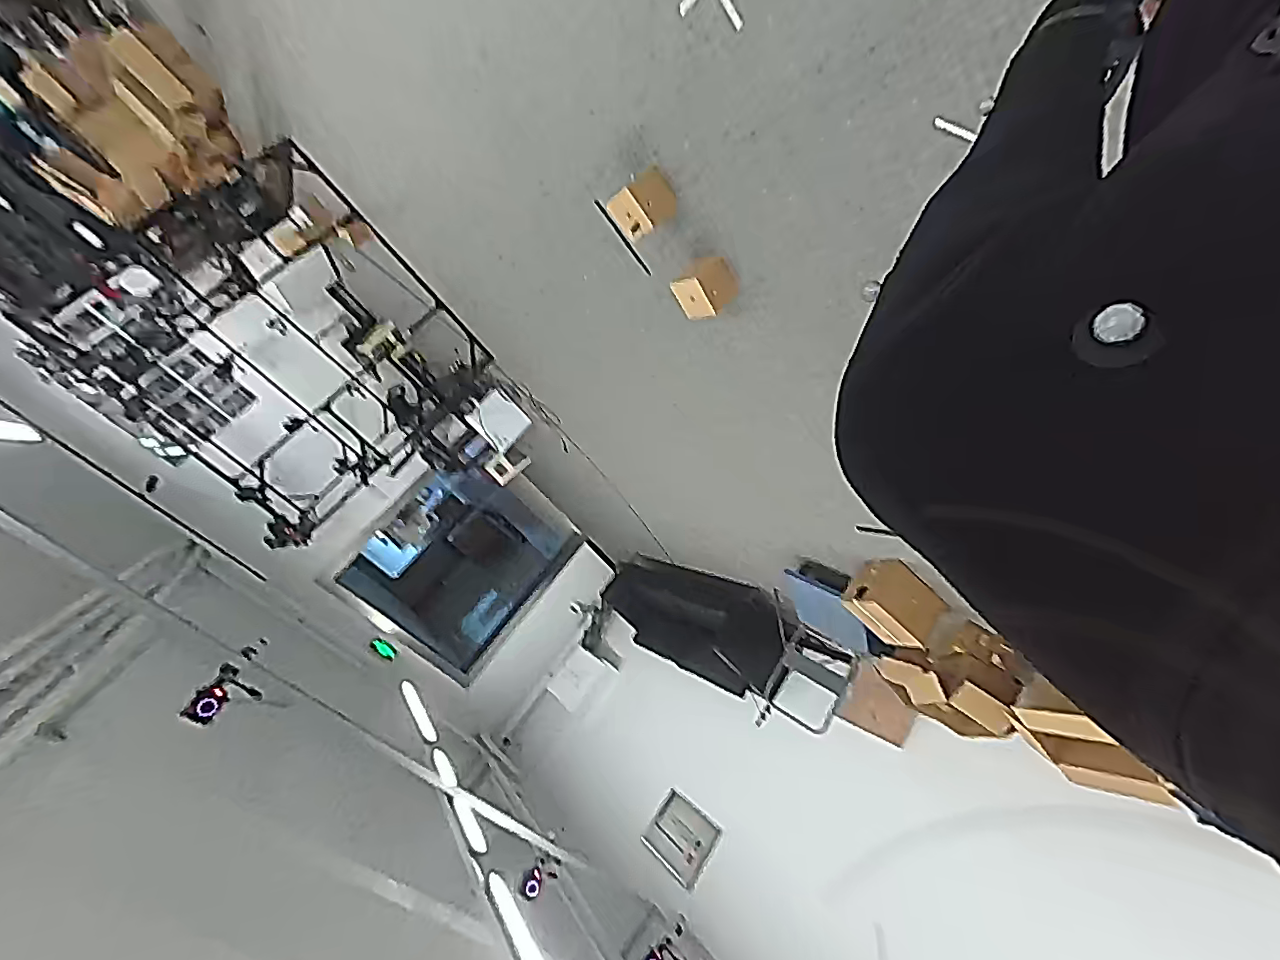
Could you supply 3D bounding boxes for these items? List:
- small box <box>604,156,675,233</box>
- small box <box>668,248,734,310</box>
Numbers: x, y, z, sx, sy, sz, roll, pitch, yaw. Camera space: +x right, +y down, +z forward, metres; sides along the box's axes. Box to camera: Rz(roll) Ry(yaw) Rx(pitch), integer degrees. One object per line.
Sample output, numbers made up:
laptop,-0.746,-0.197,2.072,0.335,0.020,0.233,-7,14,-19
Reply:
small box,0.002,-1.098,2.080,0.179,0.176,0.168,48,158,-23
small box,0.255,-0.832,2.229,0.168,0.176,0.179,12,149,51
